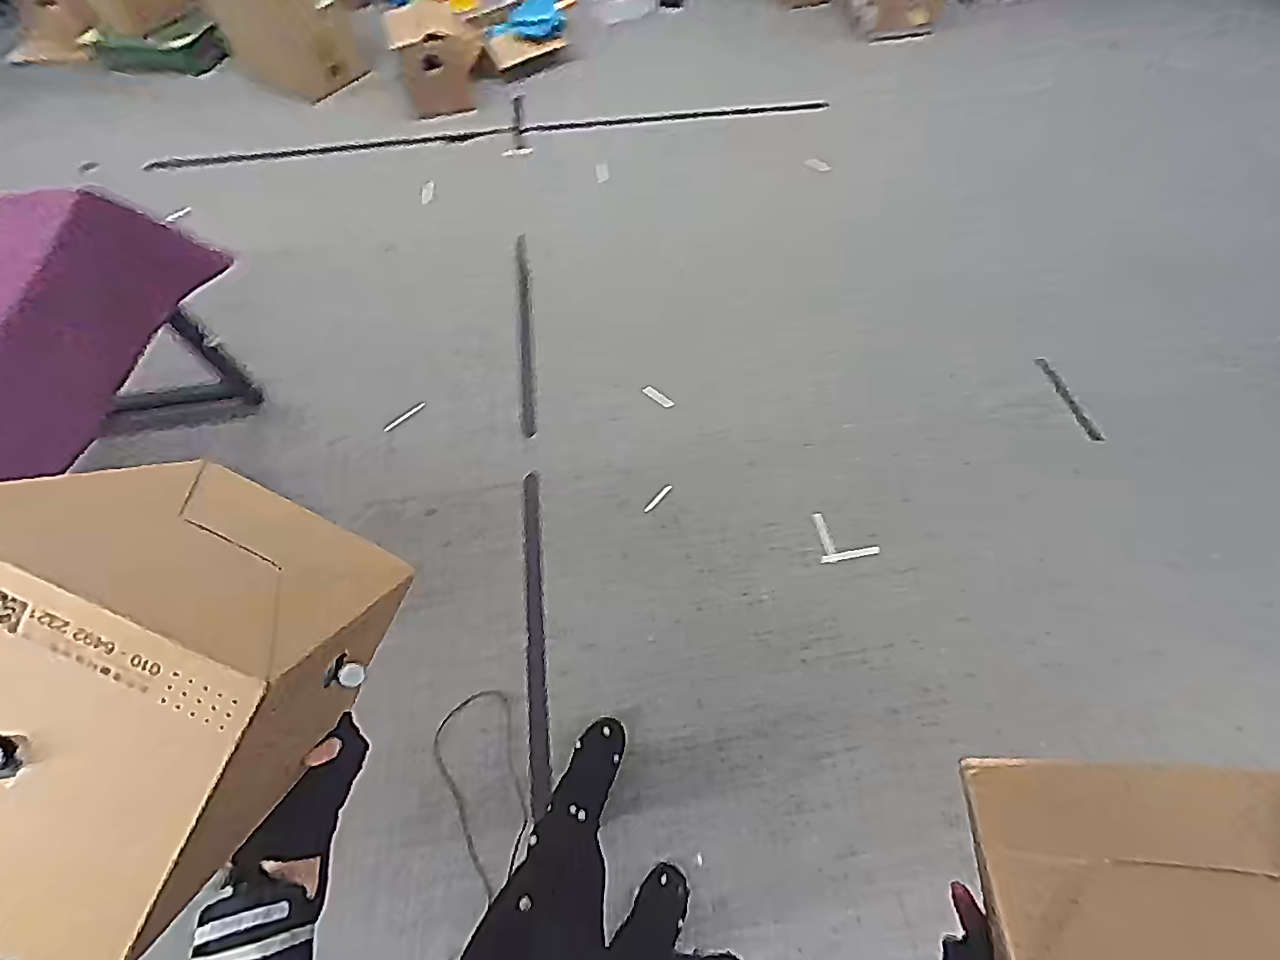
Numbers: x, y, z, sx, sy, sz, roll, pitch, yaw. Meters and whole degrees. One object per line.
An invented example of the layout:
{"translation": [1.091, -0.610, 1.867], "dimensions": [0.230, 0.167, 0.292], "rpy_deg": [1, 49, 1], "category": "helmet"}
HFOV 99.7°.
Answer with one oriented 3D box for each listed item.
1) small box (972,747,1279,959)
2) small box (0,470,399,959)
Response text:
{"translation": [0.263, 0.244, 0.240], "dimensions": [0.168, 0.179, 0.176], "rpy_deg": [-9, 91, 24], "category": "small box"}
{"translation": [-0.269, 0.105, 0.297], "dimensions": [0.168, 0.179, 0.176], "rpy_deg": [28, 93, -5], "category": "small box"}
